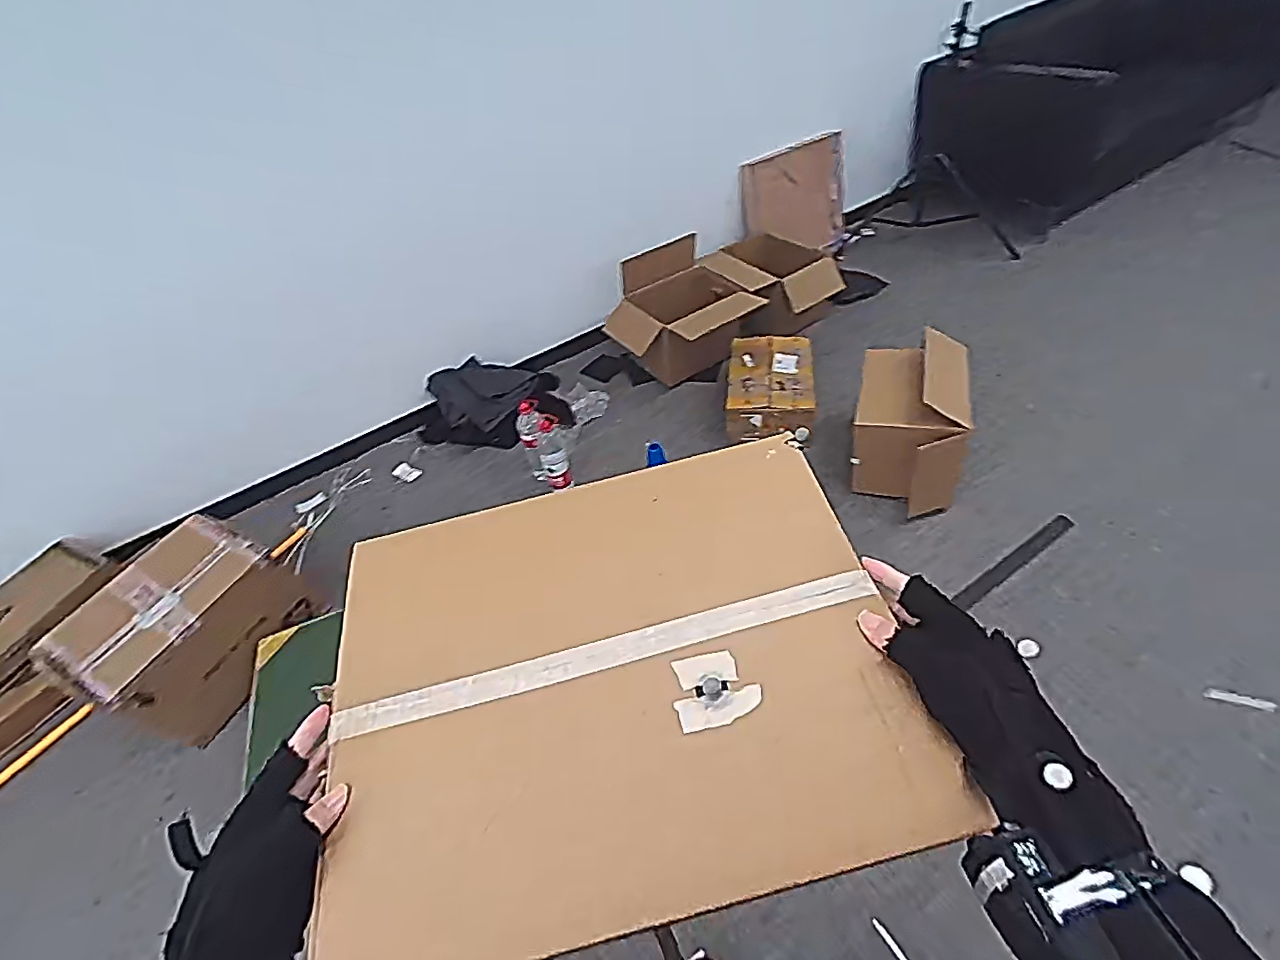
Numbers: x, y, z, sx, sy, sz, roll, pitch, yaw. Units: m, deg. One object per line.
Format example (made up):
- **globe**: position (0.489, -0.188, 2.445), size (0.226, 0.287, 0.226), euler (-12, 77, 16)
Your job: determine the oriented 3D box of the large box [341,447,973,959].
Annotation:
- **large box**: position (-0.001, 0.221, 0.529), size (0.408, 0.320, 0.320), euler (-14, 54, -2)
